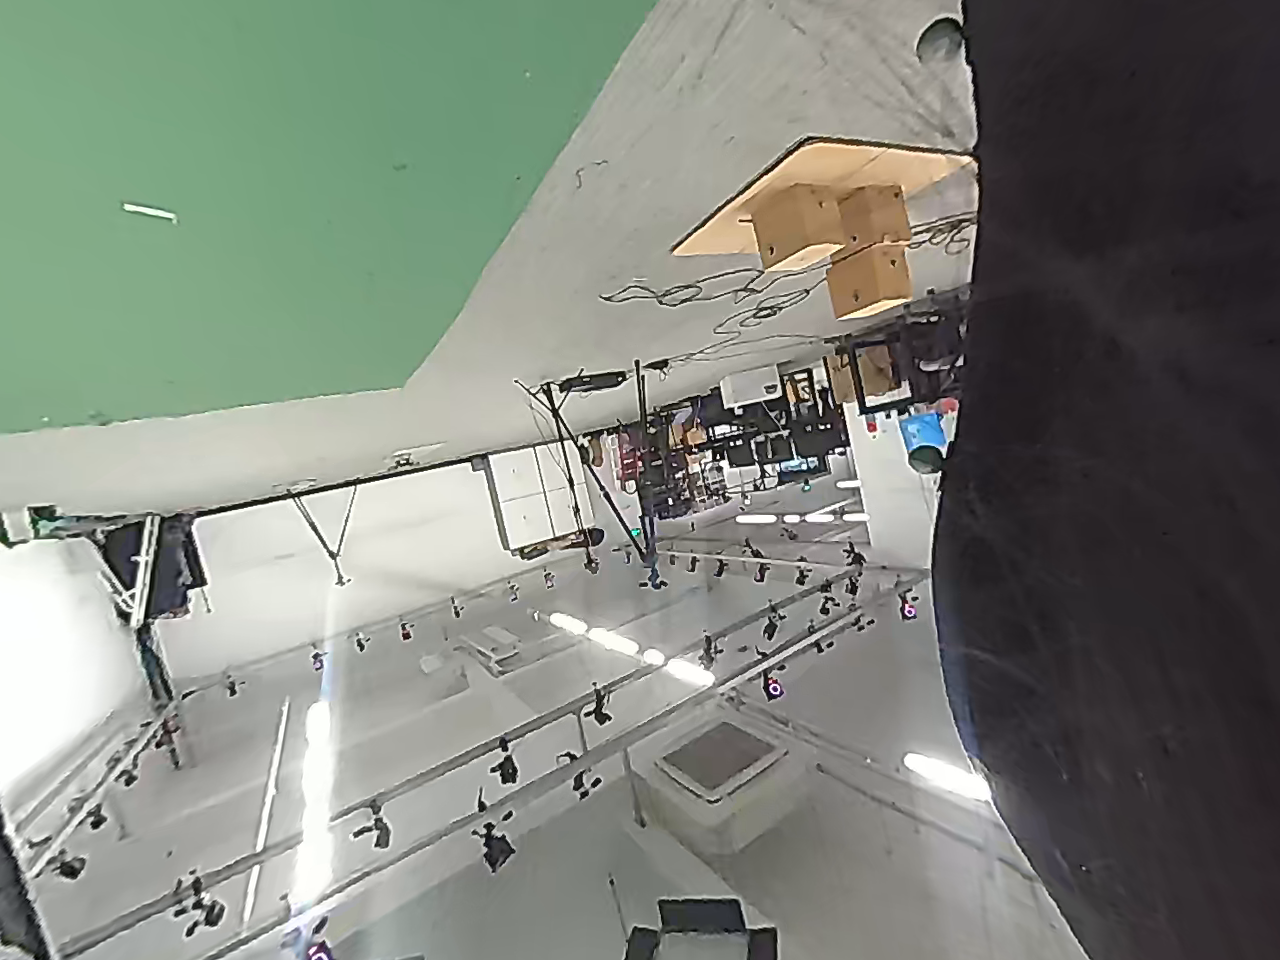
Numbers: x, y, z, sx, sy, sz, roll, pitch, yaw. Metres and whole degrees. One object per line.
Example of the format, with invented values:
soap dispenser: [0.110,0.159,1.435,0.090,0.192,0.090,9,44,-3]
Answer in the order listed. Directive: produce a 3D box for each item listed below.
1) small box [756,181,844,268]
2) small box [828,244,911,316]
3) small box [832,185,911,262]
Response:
small box: [0.453,-0.728,1.555,0.168,0.176,0.179,-17,-176,-33]
small box: [0.718,-0.630,1.706,0.168,0.176,0.179,-15,-176,-29]
small box: [0.697,-0.791,1.674,0.168,0.176,0.179,-15,-176,-26]
